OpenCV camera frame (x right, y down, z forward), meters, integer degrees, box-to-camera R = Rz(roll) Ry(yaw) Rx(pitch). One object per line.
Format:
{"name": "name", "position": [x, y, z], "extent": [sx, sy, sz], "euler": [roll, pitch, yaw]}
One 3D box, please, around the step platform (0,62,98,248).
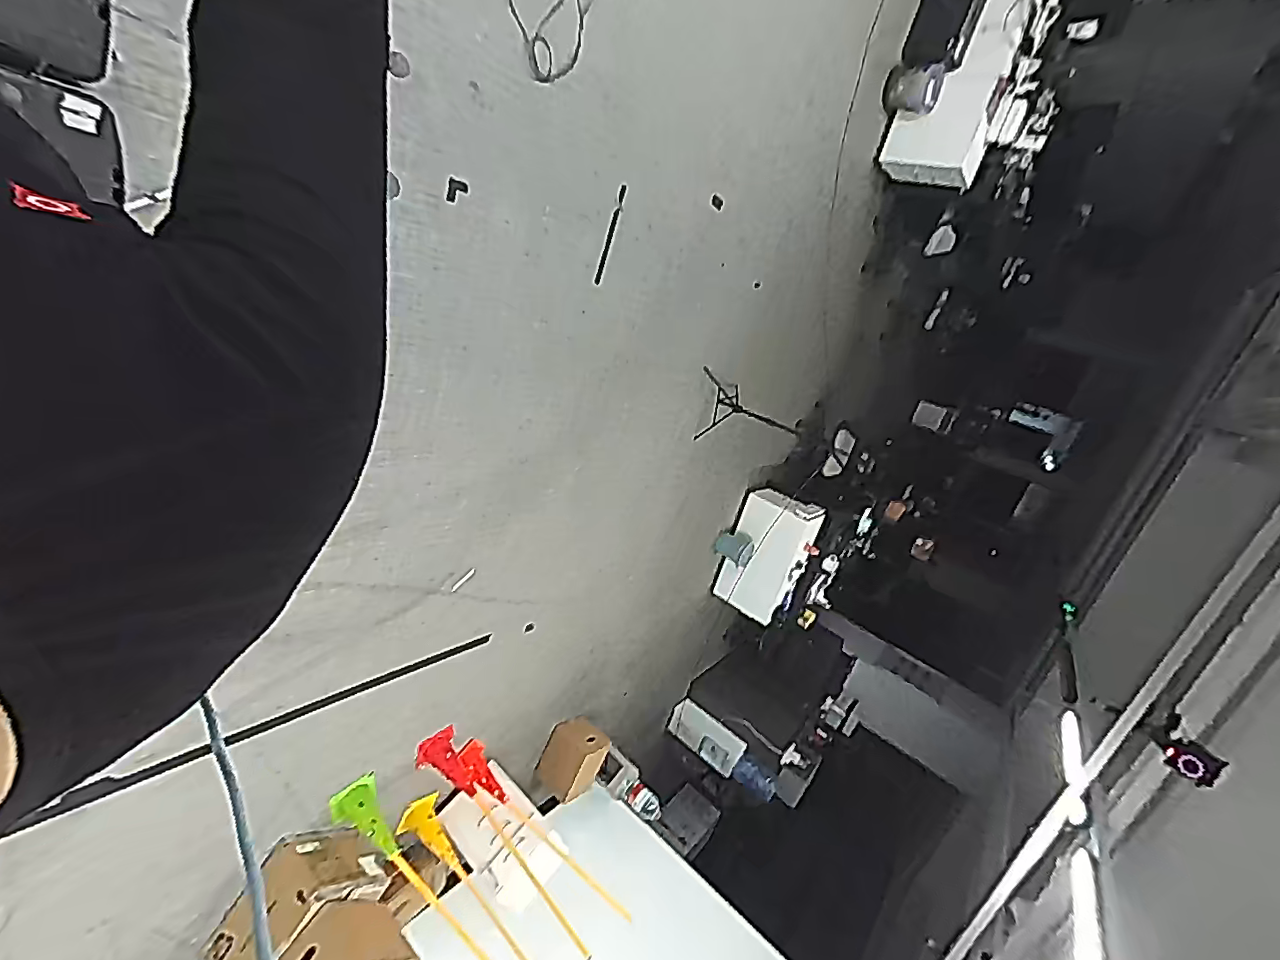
{"name": "step platform", "position": [-1.270, -0.562, 0.785], "extent": [0.684, 0.204, 0.286], "euler": [-9, 121, -51]}
